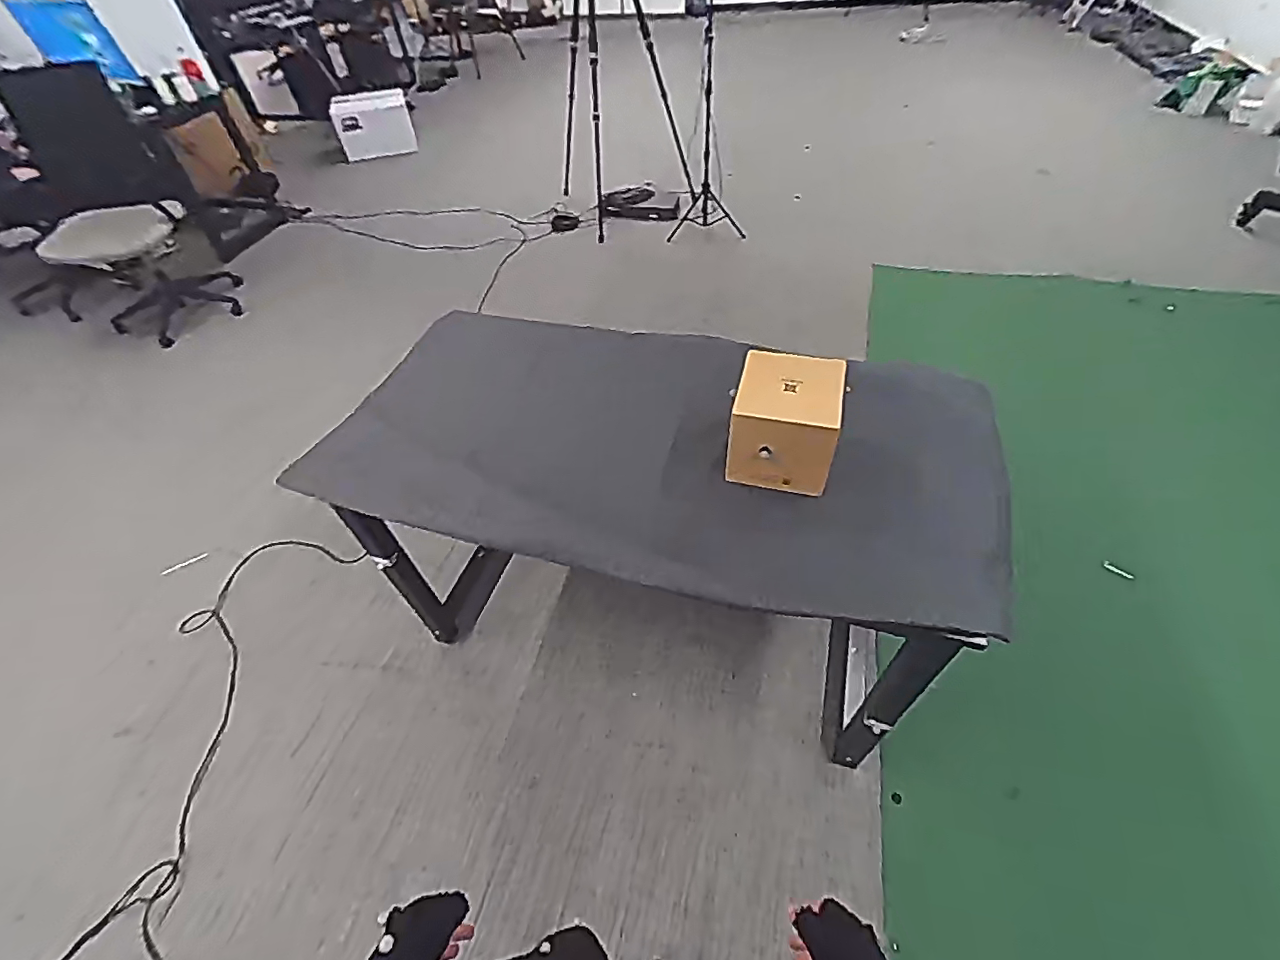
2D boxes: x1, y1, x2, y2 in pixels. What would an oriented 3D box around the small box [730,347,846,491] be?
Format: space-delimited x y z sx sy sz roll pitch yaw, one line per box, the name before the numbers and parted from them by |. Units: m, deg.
small box | 0.251 -0.104 0.934 0.168 0.176 0.179 10 50 14
